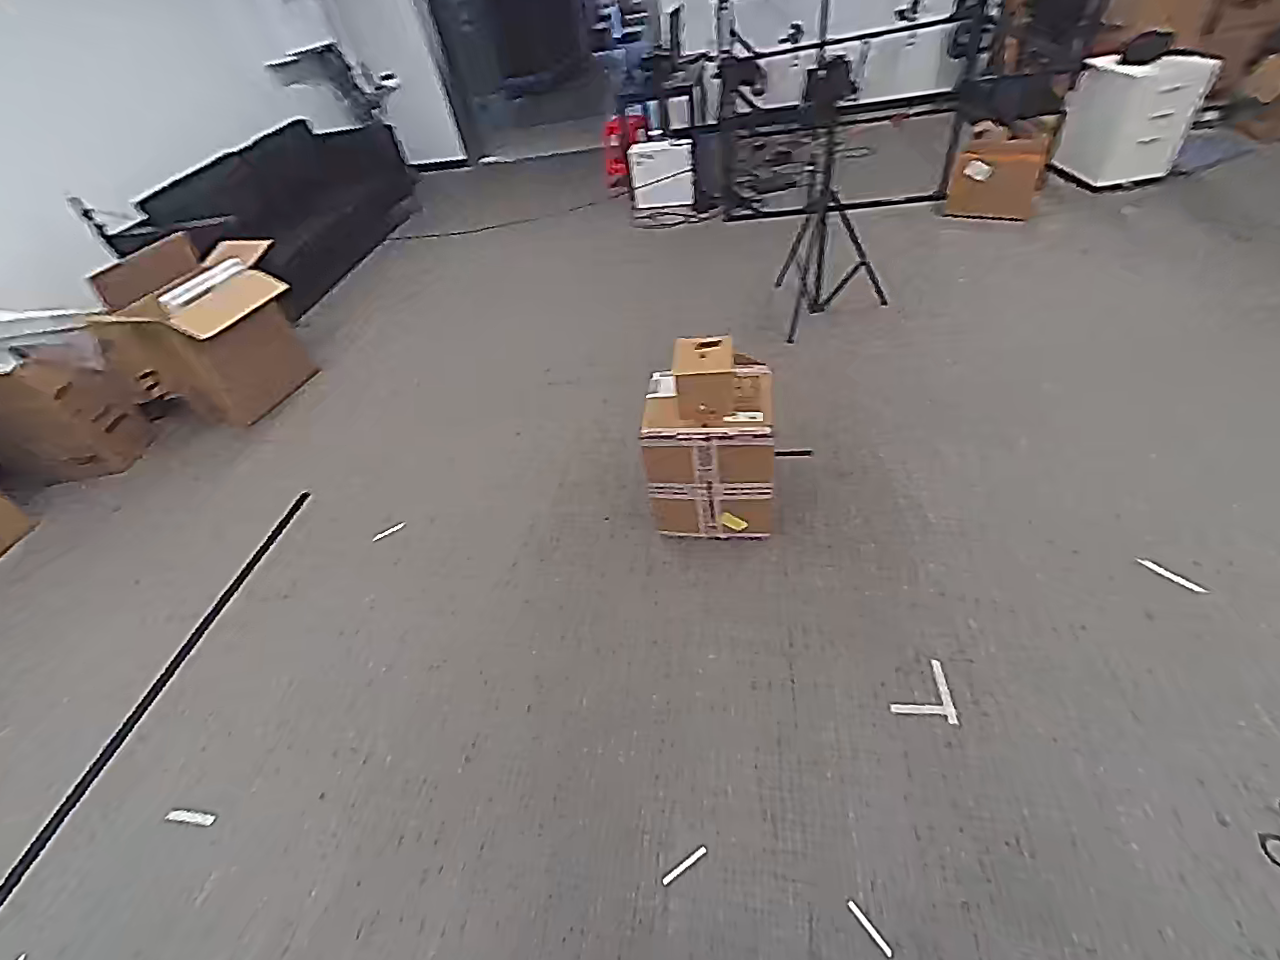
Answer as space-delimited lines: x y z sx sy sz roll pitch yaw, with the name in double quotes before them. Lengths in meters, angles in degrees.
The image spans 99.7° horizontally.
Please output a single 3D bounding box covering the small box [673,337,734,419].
"small box" 0.193 -0.301 1.607 0.168 0.176 0.179 -1 49 11
